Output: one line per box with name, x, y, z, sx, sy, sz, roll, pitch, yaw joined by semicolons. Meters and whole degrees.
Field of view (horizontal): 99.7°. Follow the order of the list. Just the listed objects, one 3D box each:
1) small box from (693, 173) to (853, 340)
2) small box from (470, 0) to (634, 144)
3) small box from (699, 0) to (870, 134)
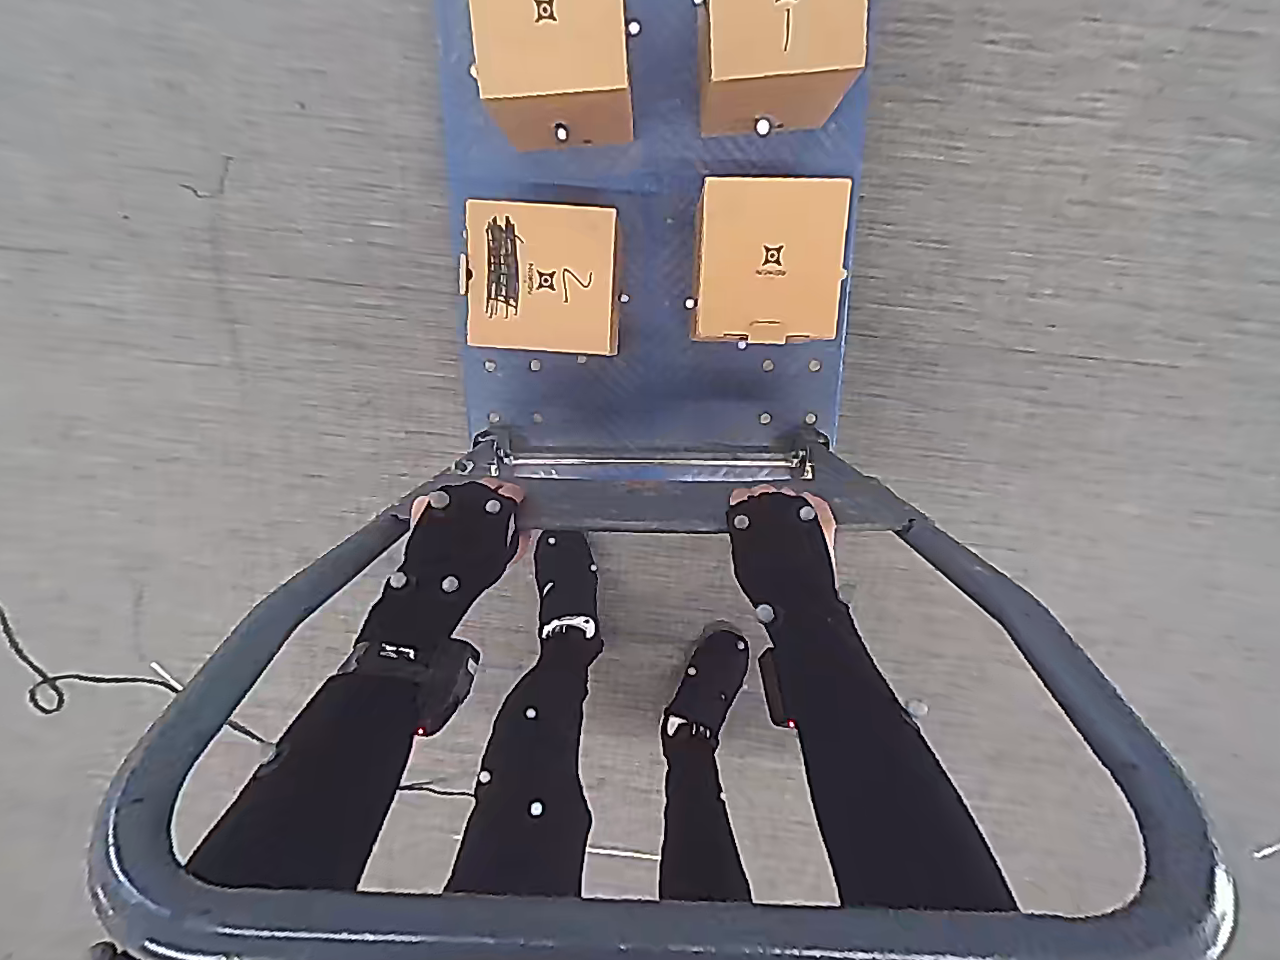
small box;0.157;-0.275;0.700;0.168;0.176;0.179;2;104;2
small box;-0.095;-0.524;0.646;0.168;0.176;0.179;-3;104;2
small box;0.158;-0.538;0.633;0.168;0.176;0.179;-3;105;3
